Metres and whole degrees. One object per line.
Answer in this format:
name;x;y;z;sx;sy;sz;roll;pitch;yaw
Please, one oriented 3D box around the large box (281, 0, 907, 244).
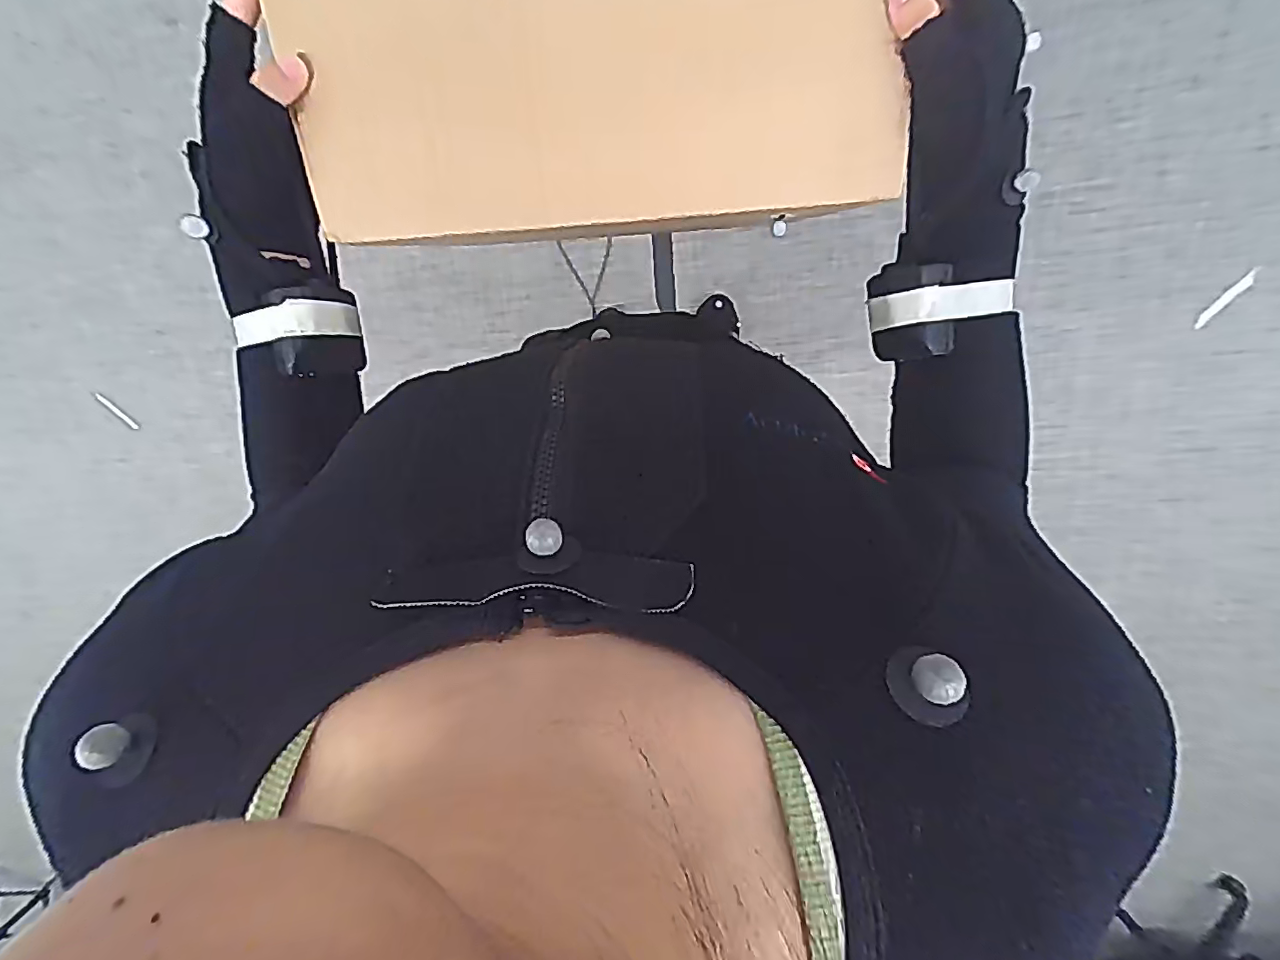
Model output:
large box;-0.026;-0.389;0.466;0.408;0.320;0.320;-3;113;4
